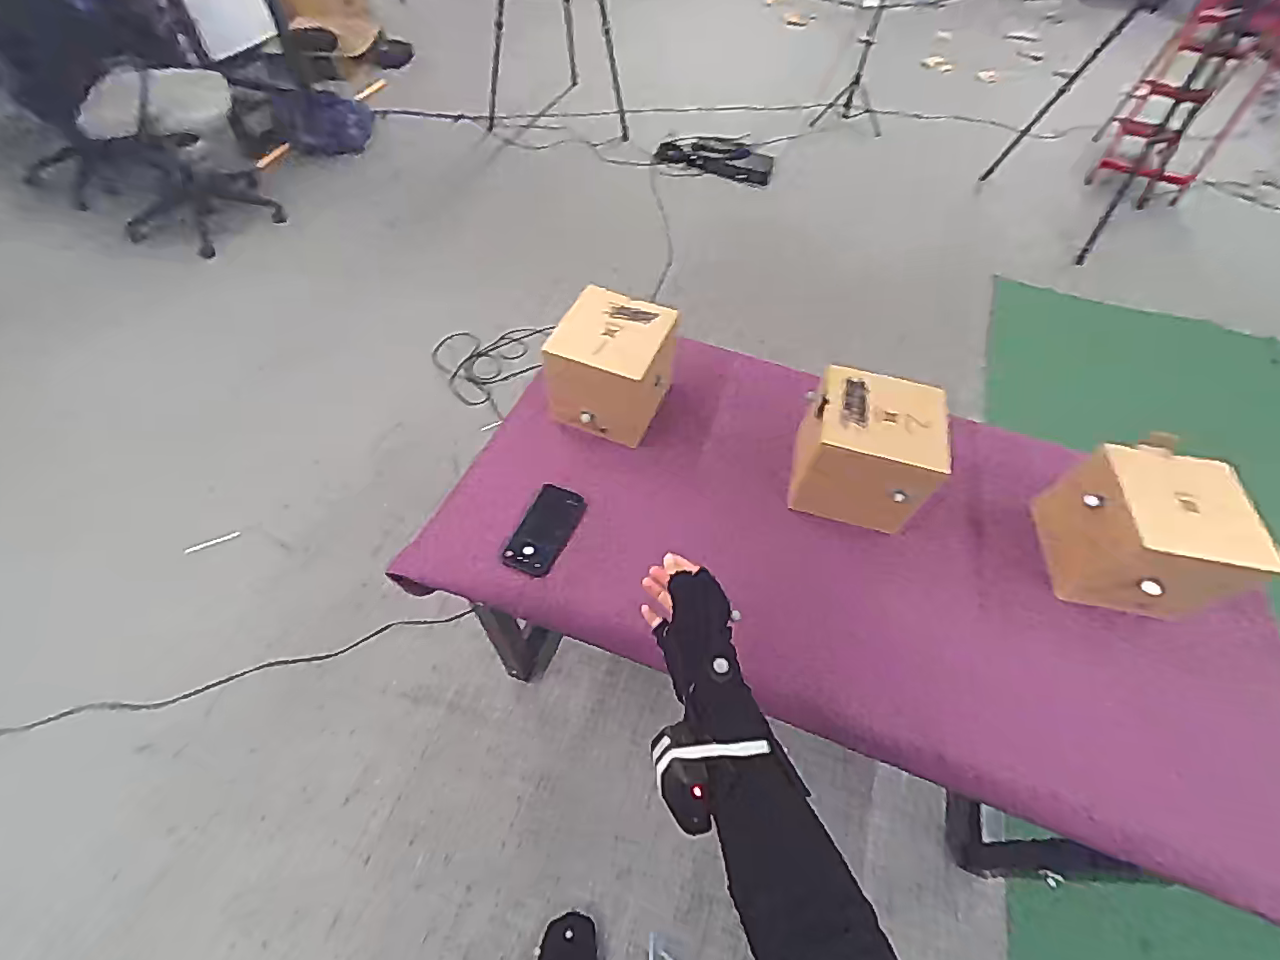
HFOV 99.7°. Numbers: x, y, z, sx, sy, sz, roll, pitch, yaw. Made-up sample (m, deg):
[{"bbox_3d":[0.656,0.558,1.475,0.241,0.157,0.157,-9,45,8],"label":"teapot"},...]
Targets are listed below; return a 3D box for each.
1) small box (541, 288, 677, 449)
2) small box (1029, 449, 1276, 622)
[{"bbox_3d":[-0.050,-0.185,0.915,0.168,0.176,0.179,20,58,10],"label":"small box"},{"bbox_3d":[0.705,0.084,0.774,0.168,0.176,0.179,10,54,4],"label":"small box"}]
